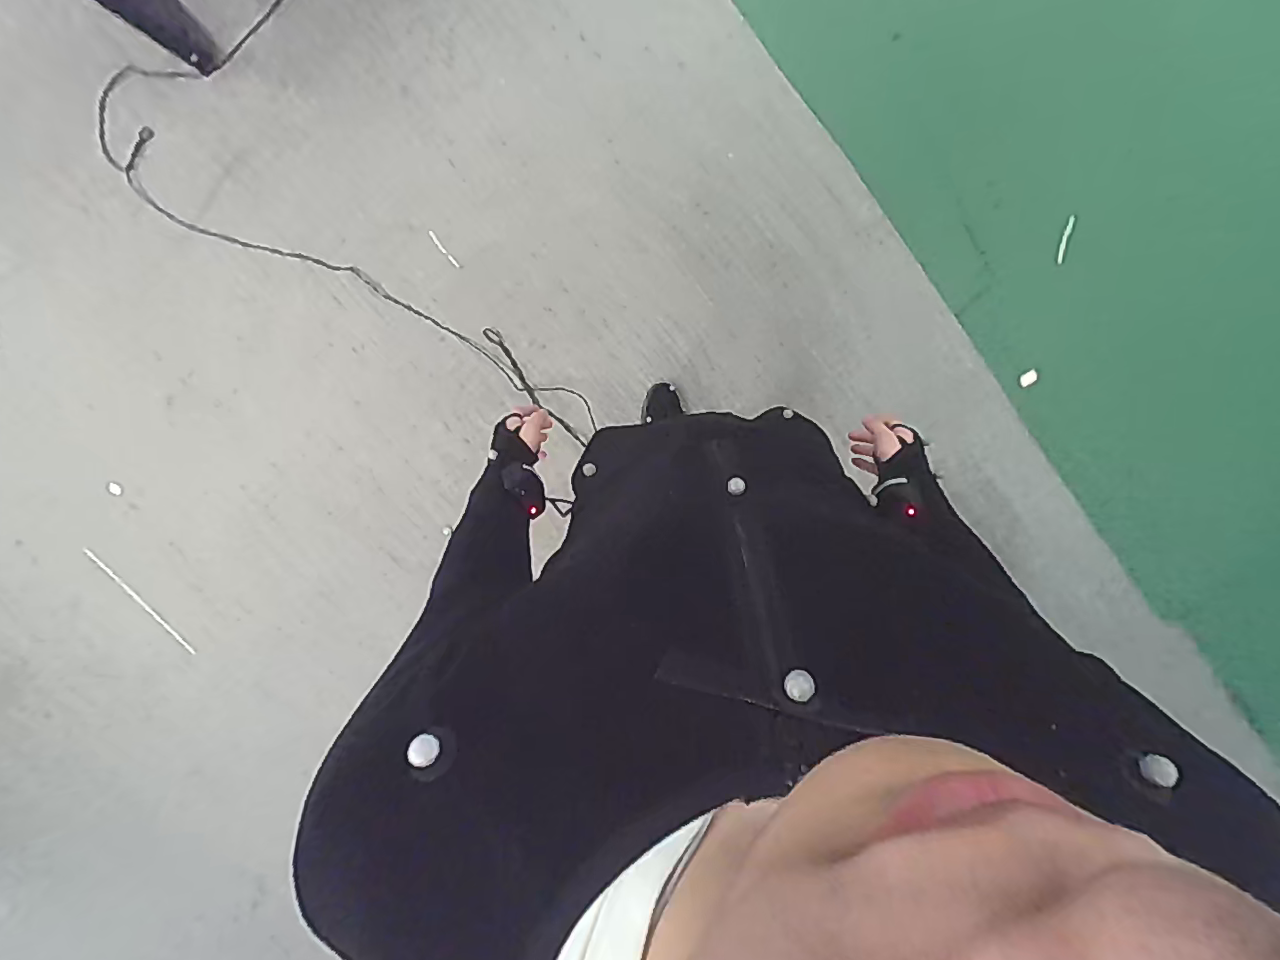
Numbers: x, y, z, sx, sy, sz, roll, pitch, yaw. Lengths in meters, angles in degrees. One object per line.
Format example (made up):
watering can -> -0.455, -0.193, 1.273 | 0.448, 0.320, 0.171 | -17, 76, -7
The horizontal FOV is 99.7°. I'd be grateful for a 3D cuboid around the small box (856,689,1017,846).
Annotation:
small box -> 0.549, 0.530, 1.029 | 0.168, 0.176, 0.179 | -41, 98, 7
